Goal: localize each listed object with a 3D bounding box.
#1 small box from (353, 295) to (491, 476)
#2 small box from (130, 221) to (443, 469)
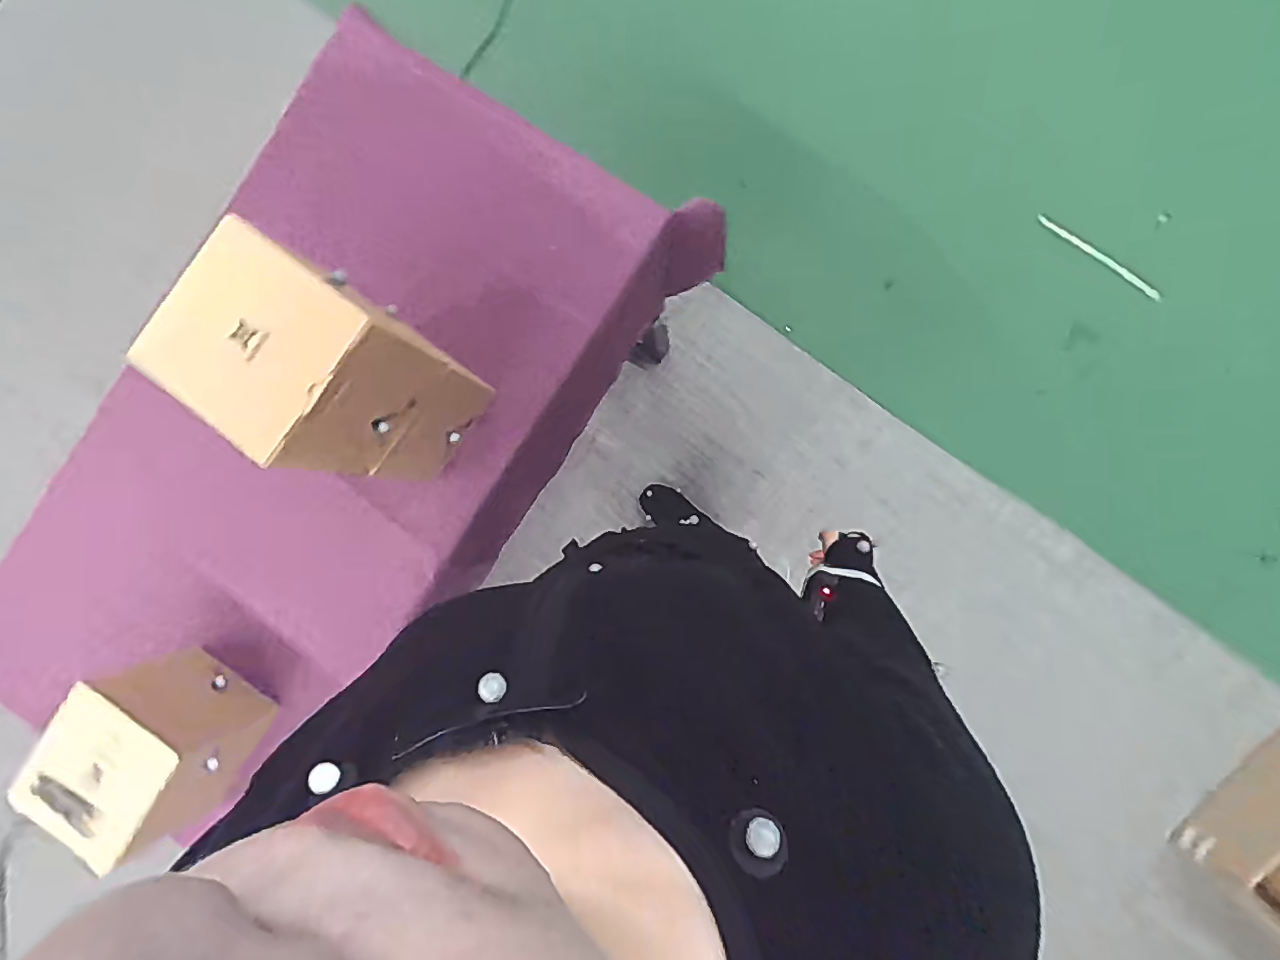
[{"bbox_3d":[-0.338,-0.115,0.733,0.179,0.176,0.168,36,92,4],"label":"small box"},{"bbox_3d":[-0.349,-0.122,0.570,0.179,0.176,0.168,36,91,4],"label":"small box"}]
